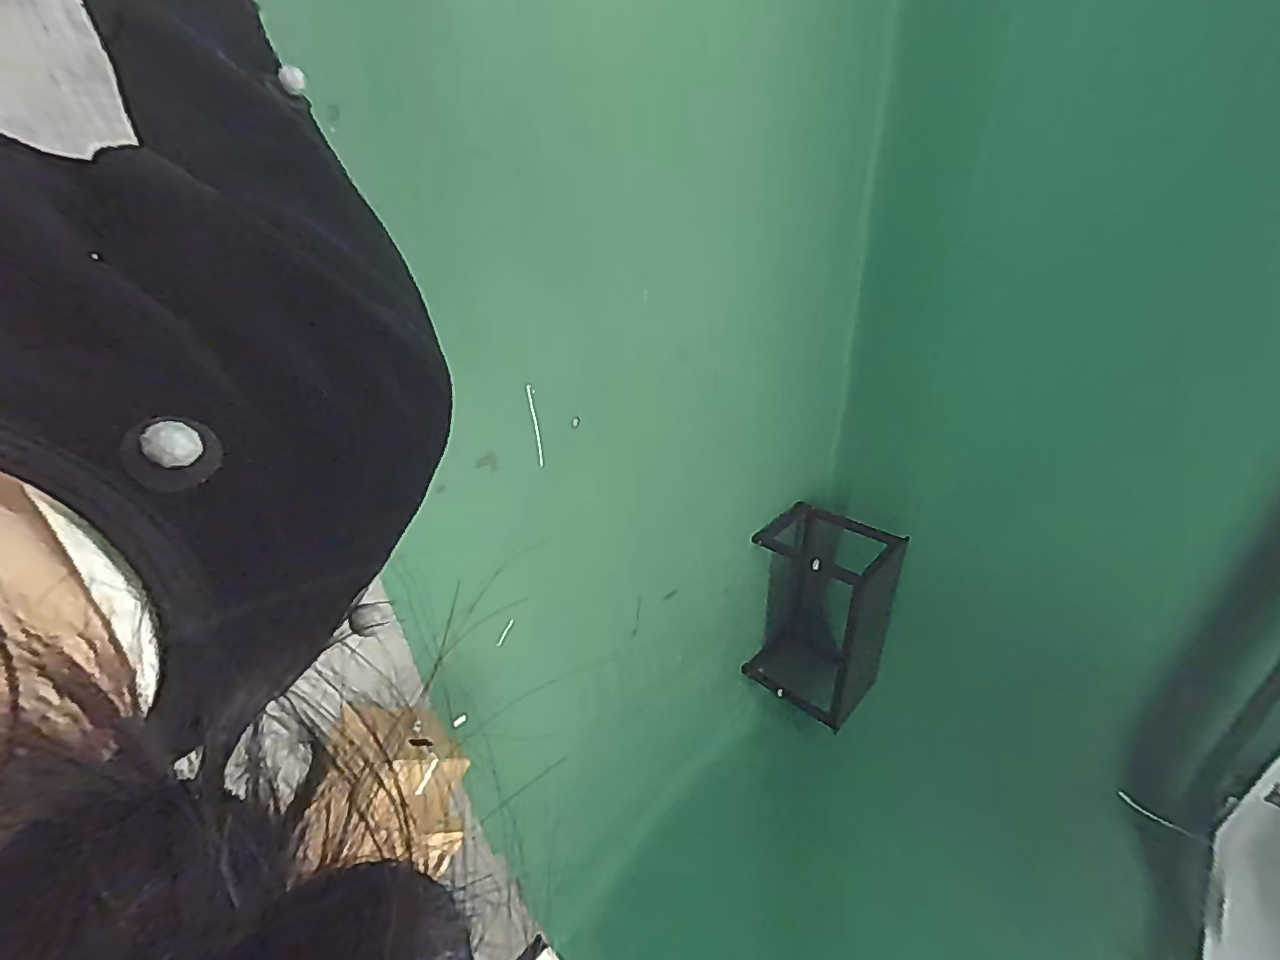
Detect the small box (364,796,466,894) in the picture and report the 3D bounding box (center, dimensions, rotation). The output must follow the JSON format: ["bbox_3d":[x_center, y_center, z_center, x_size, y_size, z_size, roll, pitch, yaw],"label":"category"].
[{"bbox_3d":[-0.648,1.040,1.555,0.168,0.176,0.179,-59,140,-10],"label":"small box"}]
